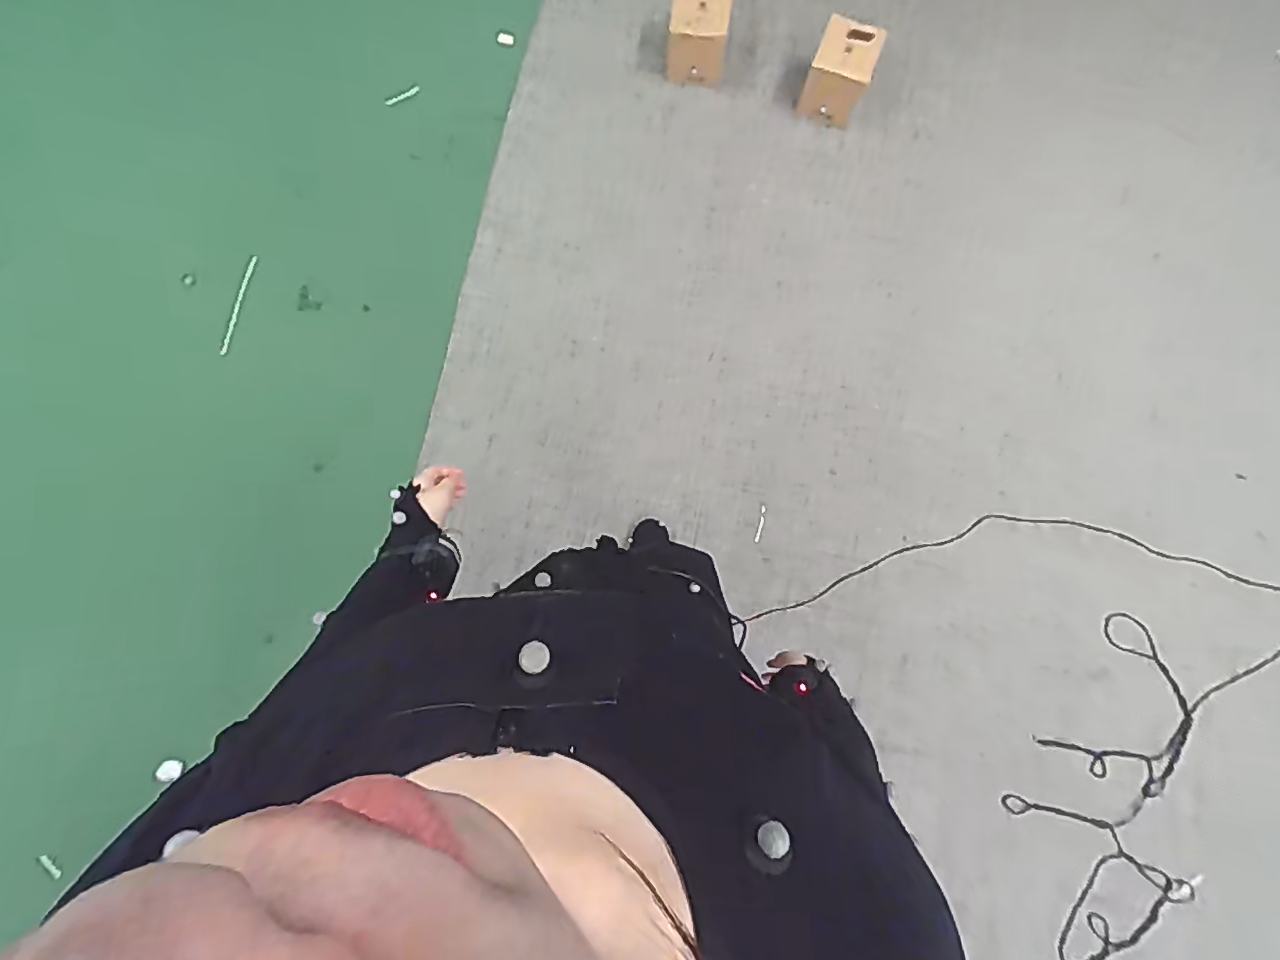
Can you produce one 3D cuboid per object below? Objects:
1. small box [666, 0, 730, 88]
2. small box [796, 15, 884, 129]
[{"bbox_3d":[0.168,-1.313,1.596,0.168,0.176,0.179,8,83,2],"label":"small box"},{"bbox_3d":[0.574,-1.179,1.573,0.168,0.176,0.179,22,84,4],"label":"small box"}]
